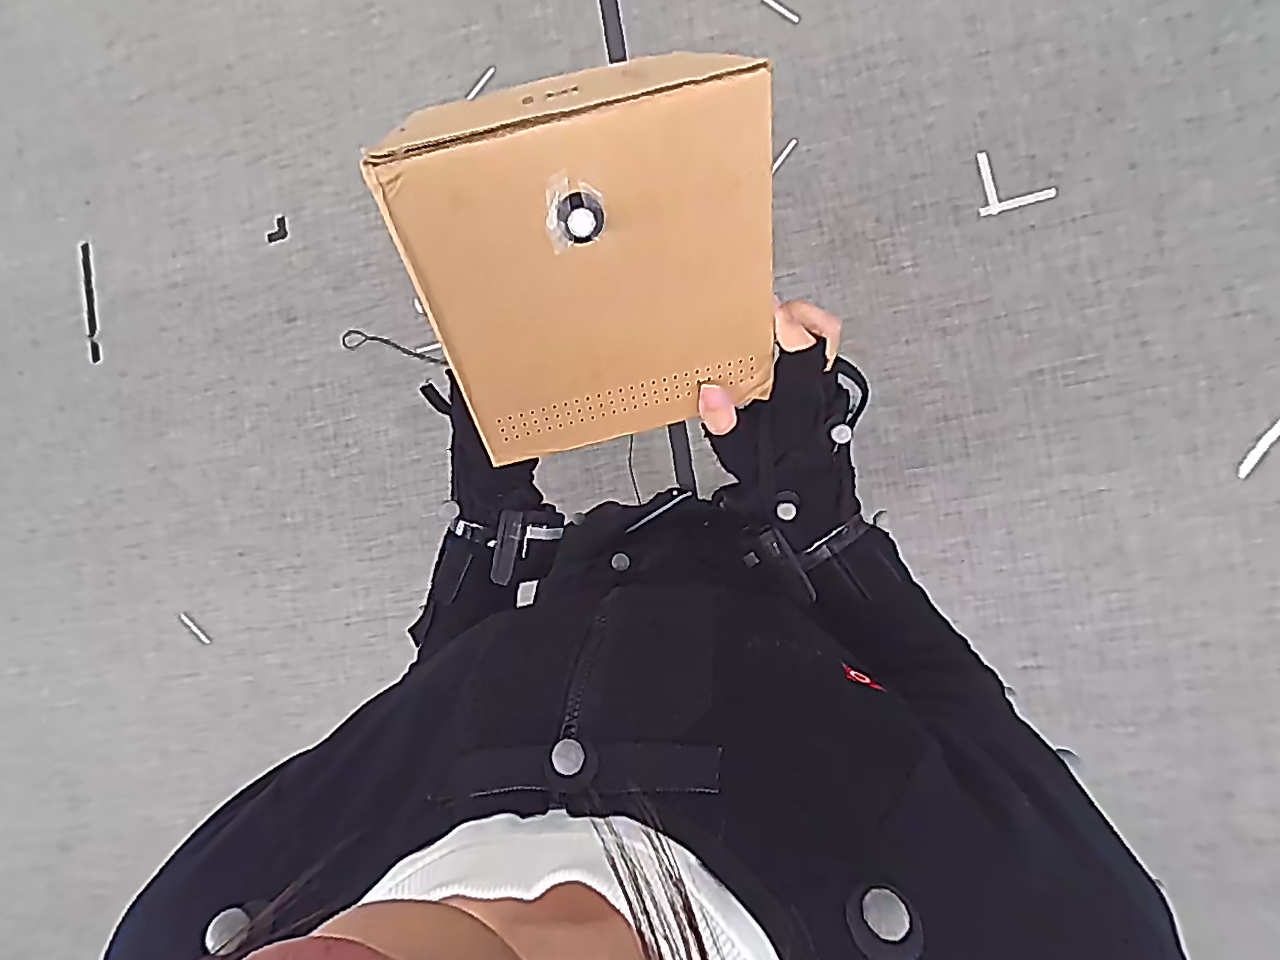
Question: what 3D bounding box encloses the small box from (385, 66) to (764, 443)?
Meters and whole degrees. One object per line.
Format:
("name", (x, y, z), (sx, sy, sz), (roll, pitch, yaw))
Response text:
("small box", (-0.028, -0.145, 0.350), (0.179, 0.168, 0.176), (-14, 131, -1))
